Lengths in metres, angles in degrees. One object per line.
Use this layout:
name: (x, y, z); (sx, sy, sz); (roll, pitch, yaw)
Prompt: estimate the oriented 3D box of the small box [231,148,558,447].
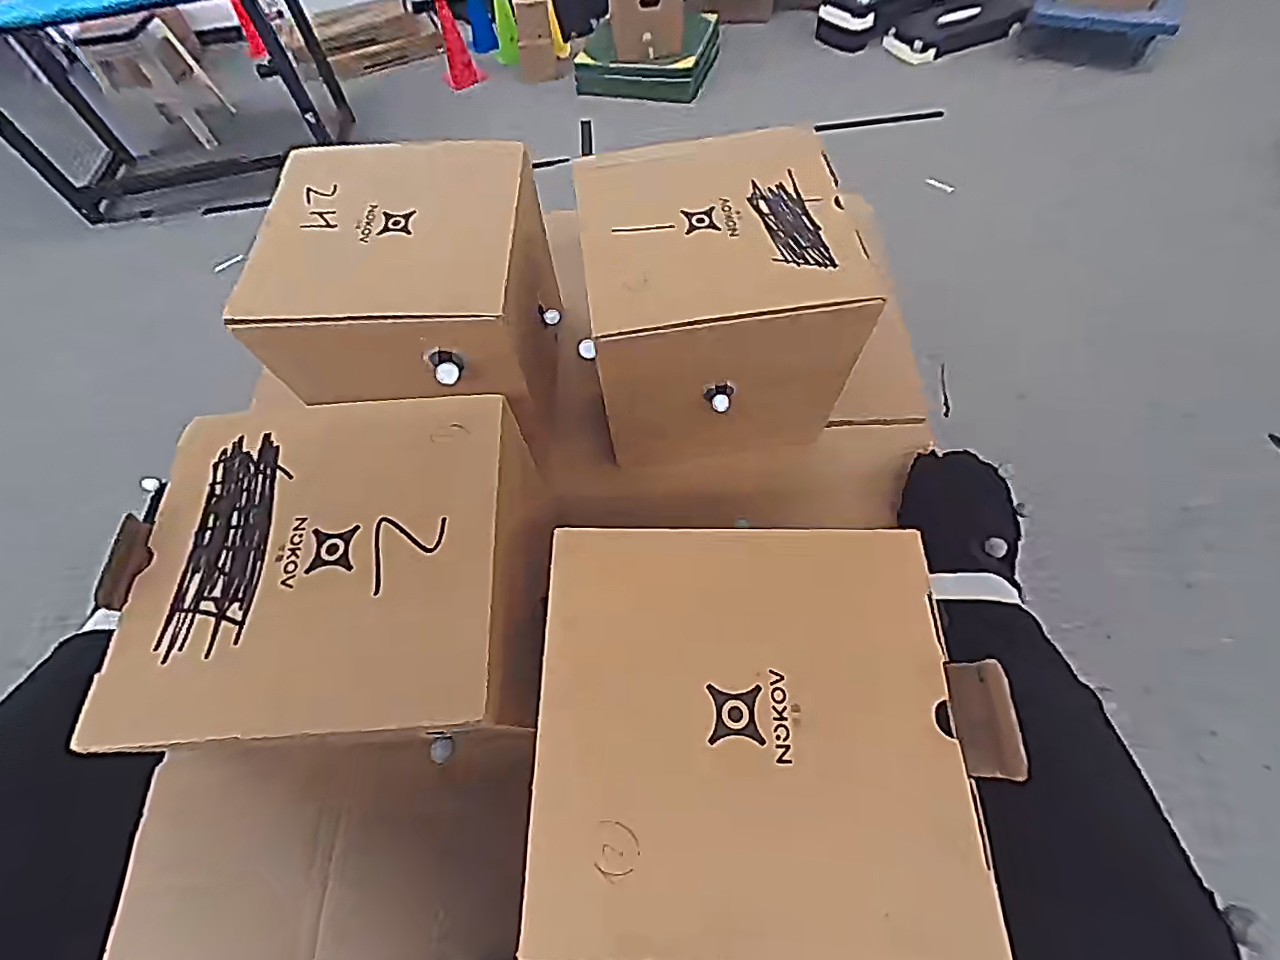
small box: (-0.168, -0.137, 0.443); (0.179, 0.176, 0.168); (-1, 64, 3)
